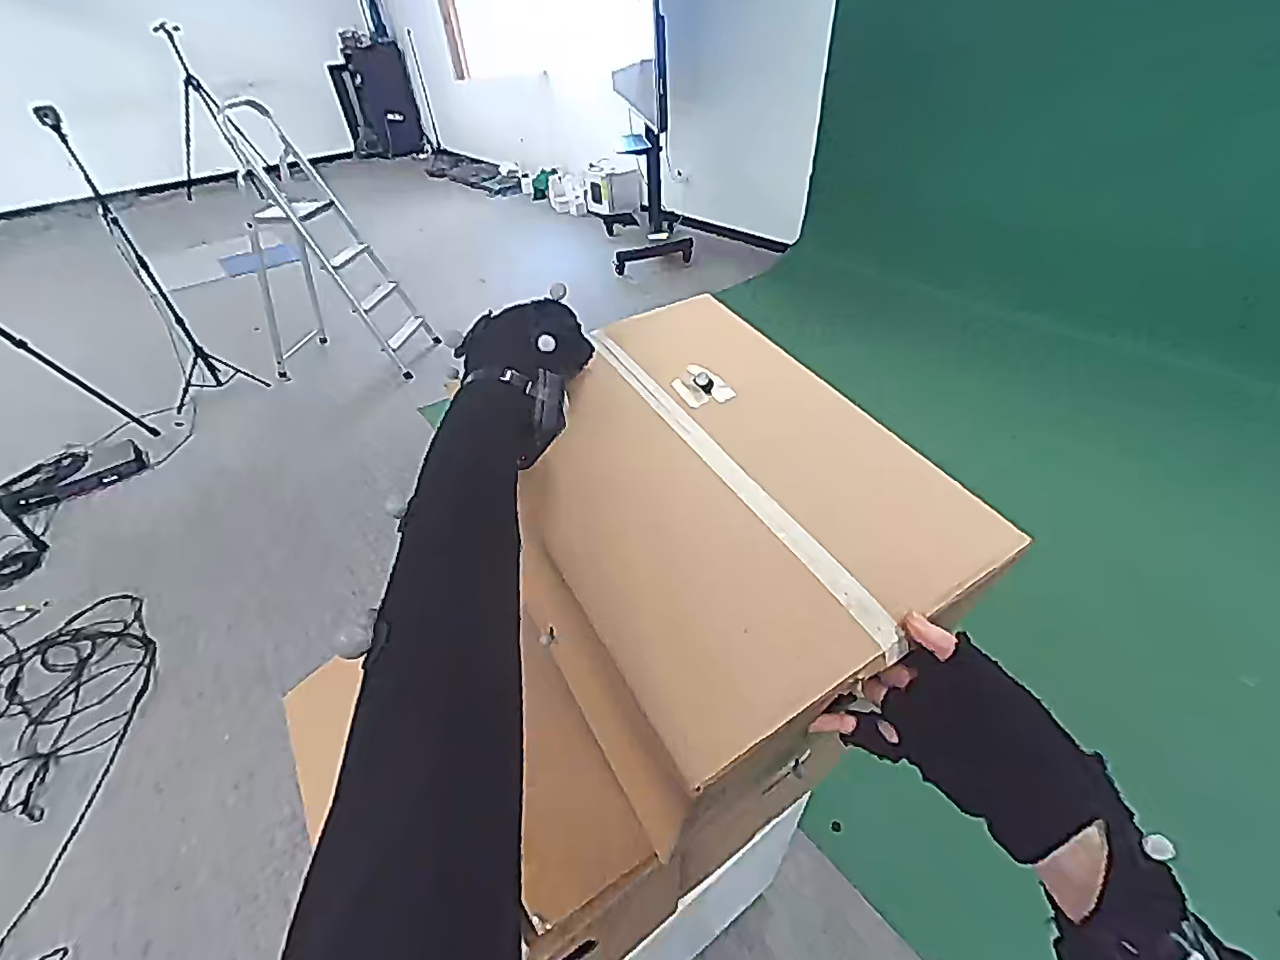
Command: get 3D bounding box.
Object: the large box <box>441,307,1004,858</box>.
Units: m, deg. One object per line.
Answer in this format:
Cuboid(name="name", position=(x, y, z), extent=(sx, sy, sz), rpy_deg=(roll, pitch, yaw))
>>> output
Cuboid(name="large box", position=(0.044, 0.082, 0.569), extent=(0.320, 0.320, 0.408), rpy_deg=(-24, 51, -20))
